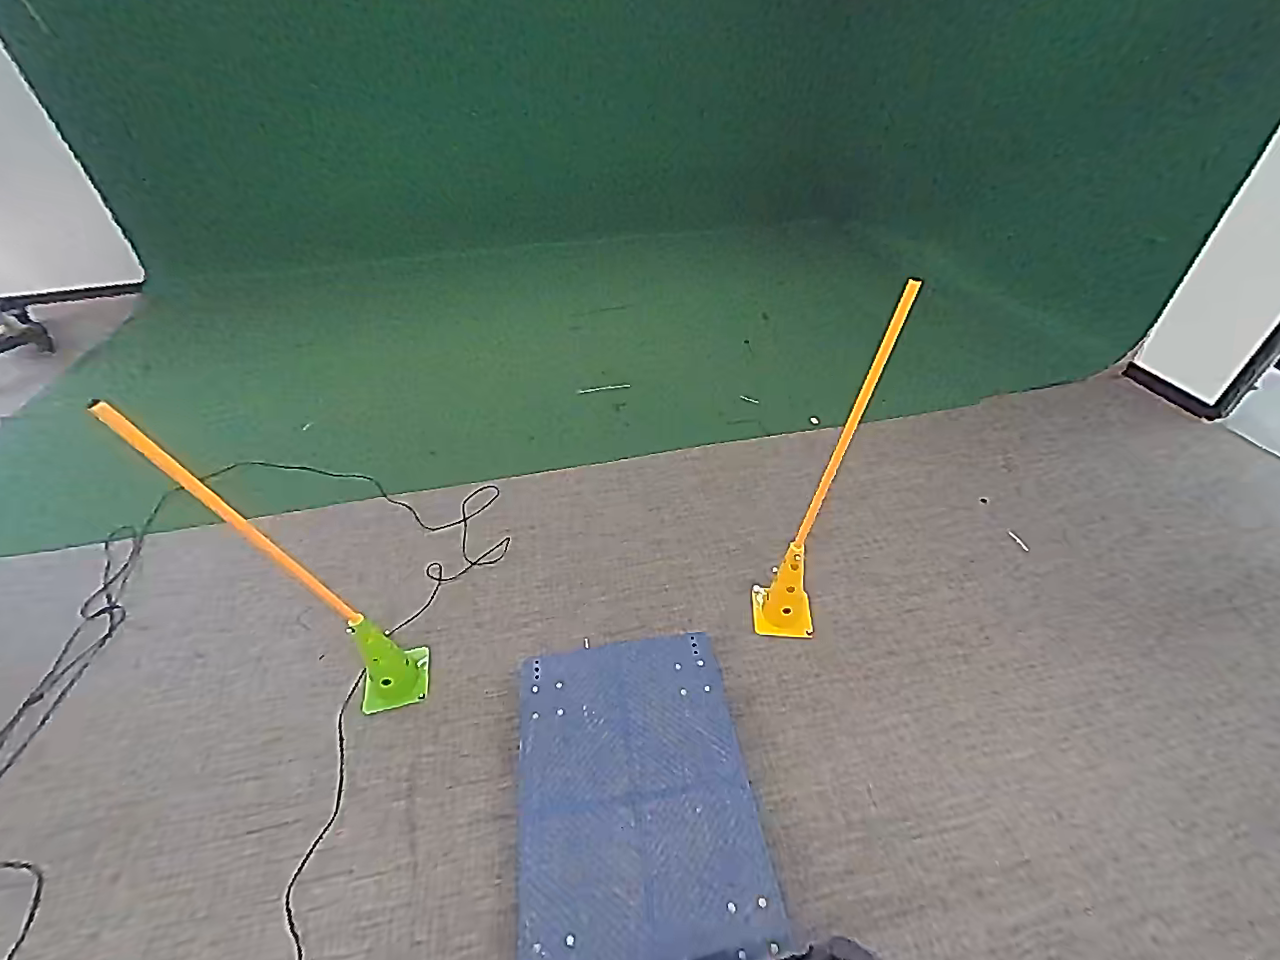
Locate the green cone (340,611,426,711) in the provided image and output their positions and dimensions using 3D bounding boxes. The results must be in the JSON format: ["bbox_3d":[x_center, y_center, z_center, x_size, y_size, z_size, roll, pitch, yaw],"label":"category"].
[{"bbox_3d":[-0.820,0.517,1.663,0.202,0.368,0.200,-13,42,-9],"label":"green cone"}]
